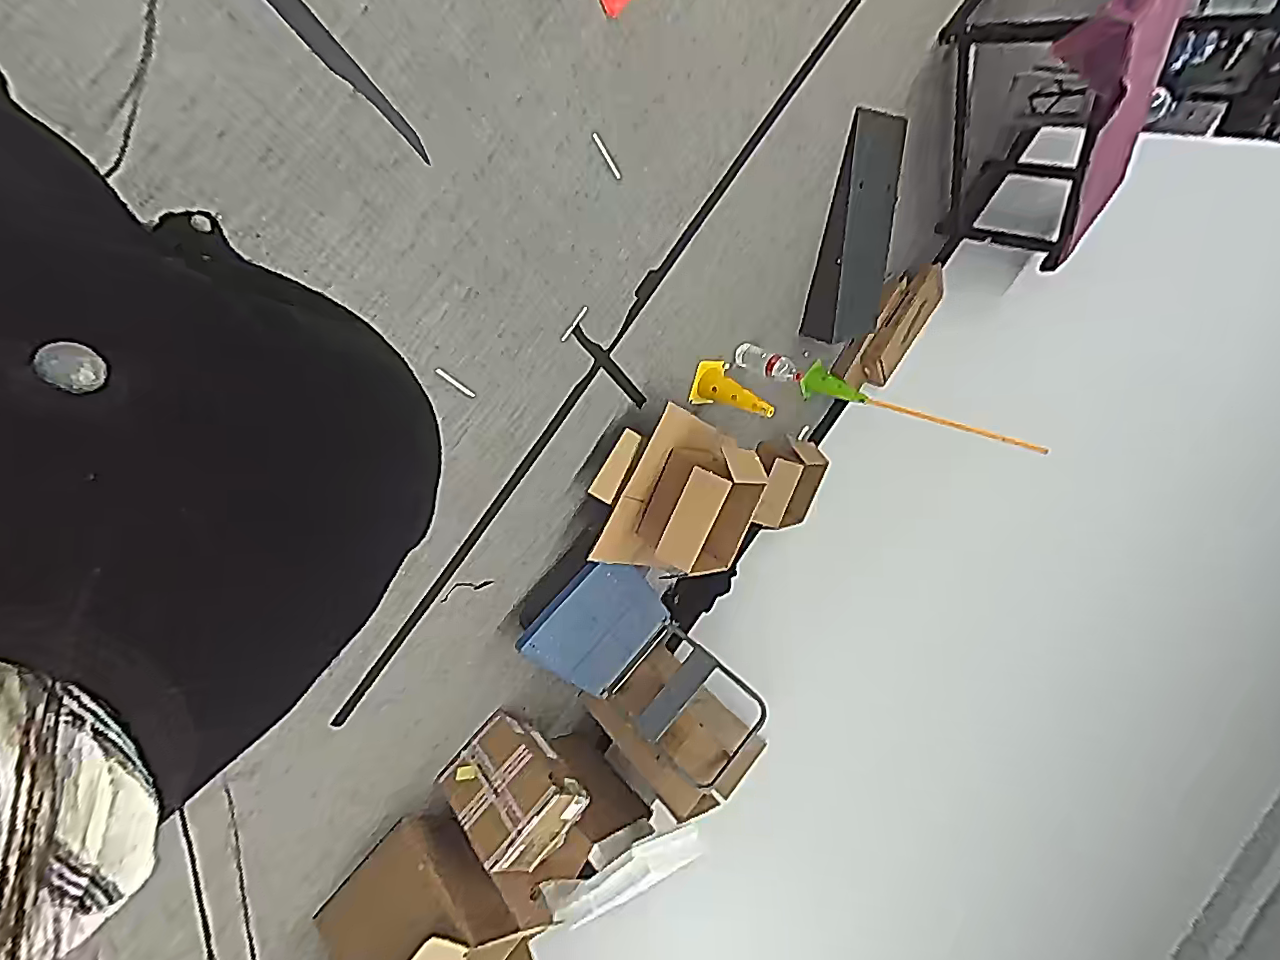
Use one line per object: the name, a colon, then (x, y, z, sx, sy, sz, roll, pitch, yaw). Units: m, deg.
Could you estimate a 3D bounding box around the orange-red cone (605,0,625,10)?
orange-red cone: (0.062, -1.232, 1.221, 0.198, 0.360, 0.199, -52, 145, -5)
